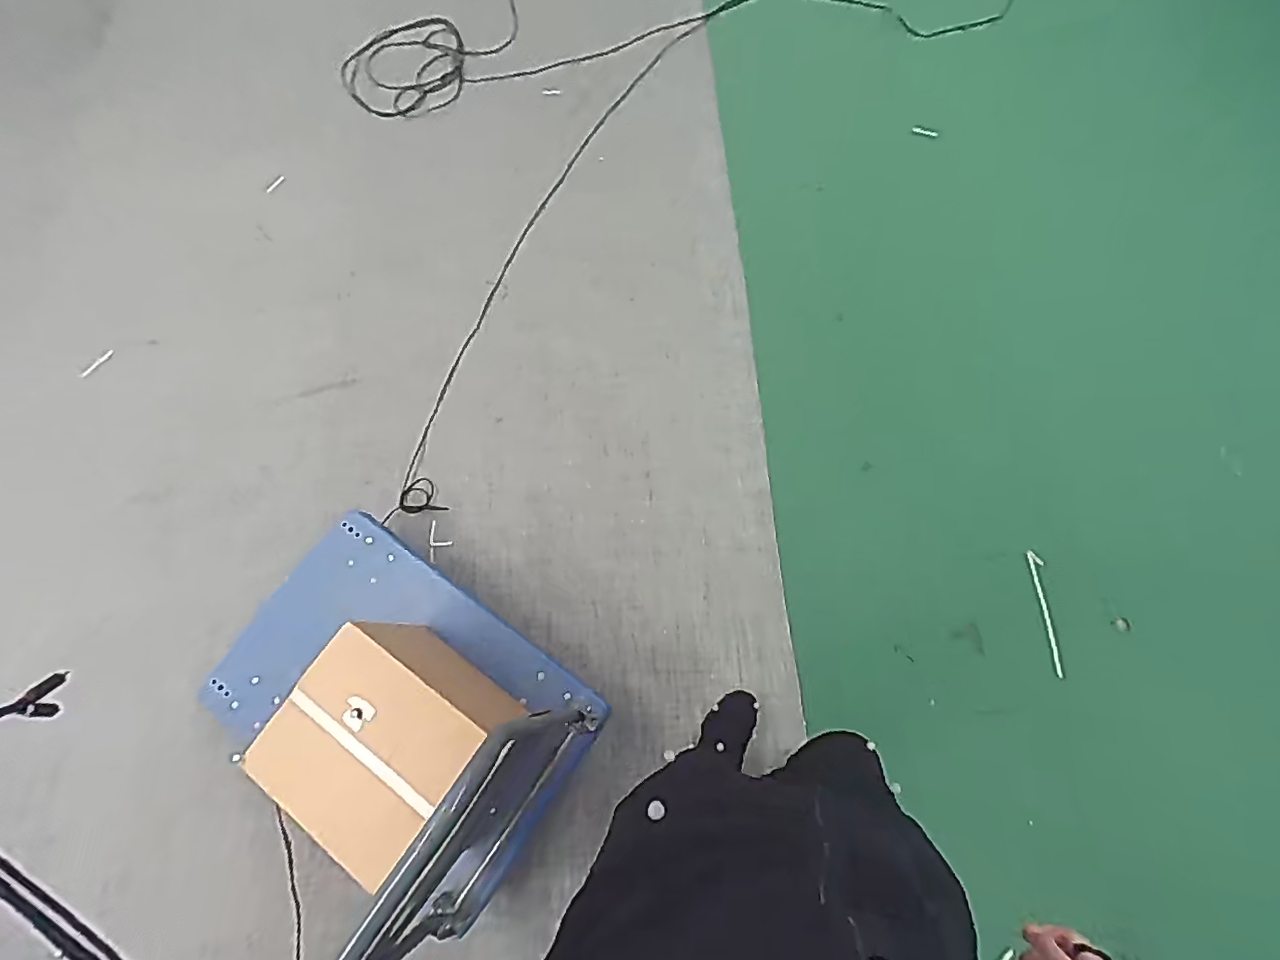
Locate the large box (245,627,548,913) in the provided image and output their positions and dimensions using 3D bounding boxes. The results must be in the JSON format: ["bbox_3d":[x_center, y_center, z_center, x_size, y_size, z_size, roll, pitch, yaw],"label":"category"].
[{"bbox_3d":[-0.466,0.548,1.117,0.408,0.320,0.320,32,78,14],"label":"large box"}]
